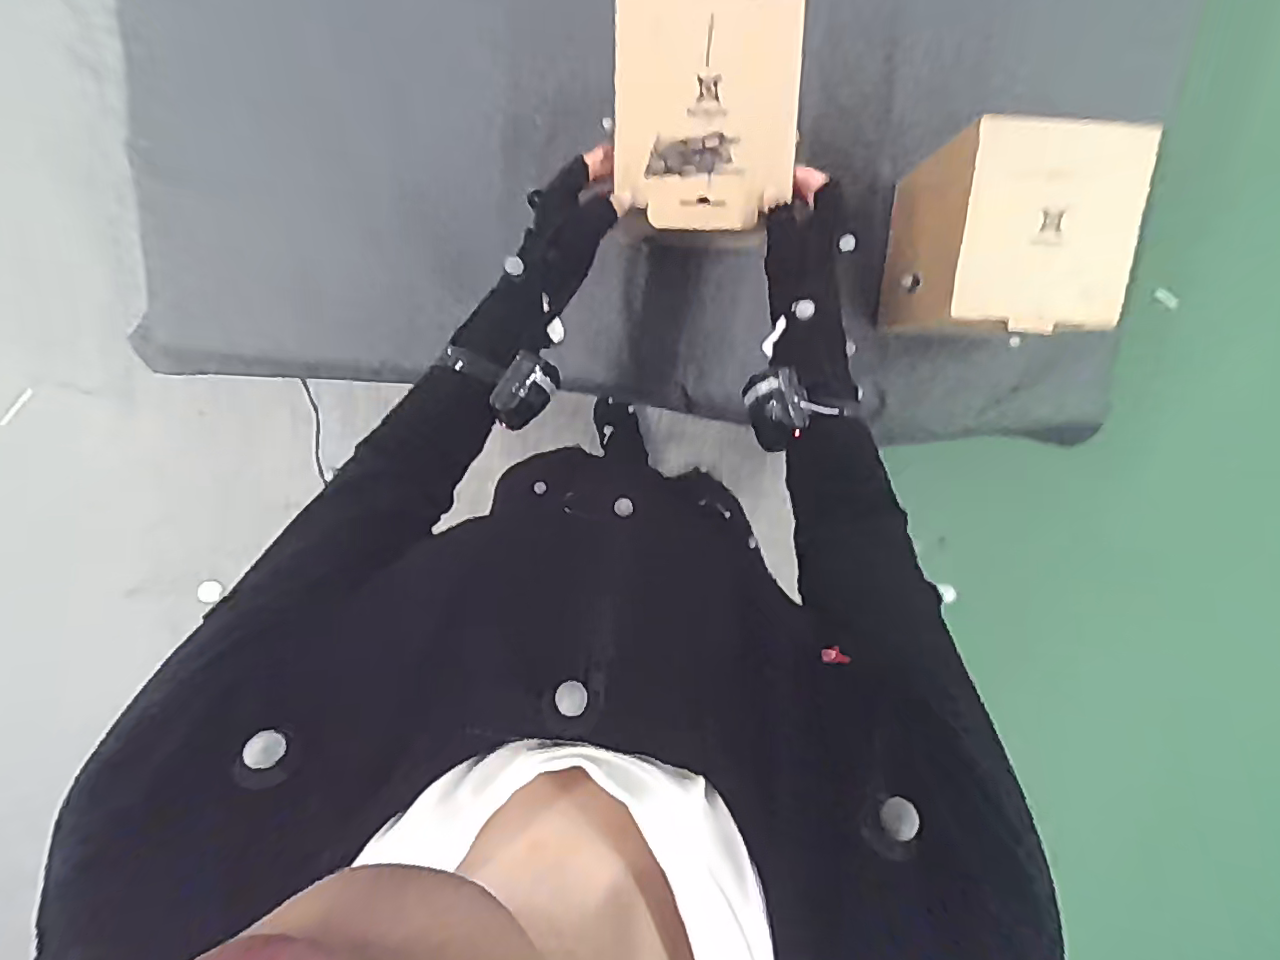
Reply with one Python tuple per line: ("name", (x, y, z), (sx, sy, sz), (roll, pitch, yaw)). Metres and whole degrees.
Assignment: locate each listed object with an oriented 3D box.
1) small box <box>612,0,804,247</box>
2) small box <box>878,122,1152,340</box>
("small box", (0.060, -0.351, 0.563), (0.168, 0.176, 0.179), (1, 101, 0))
("small box", (0.378, -0.248, 0.582), (0.168, 0.176, 0.179), (3, 100, -1))
